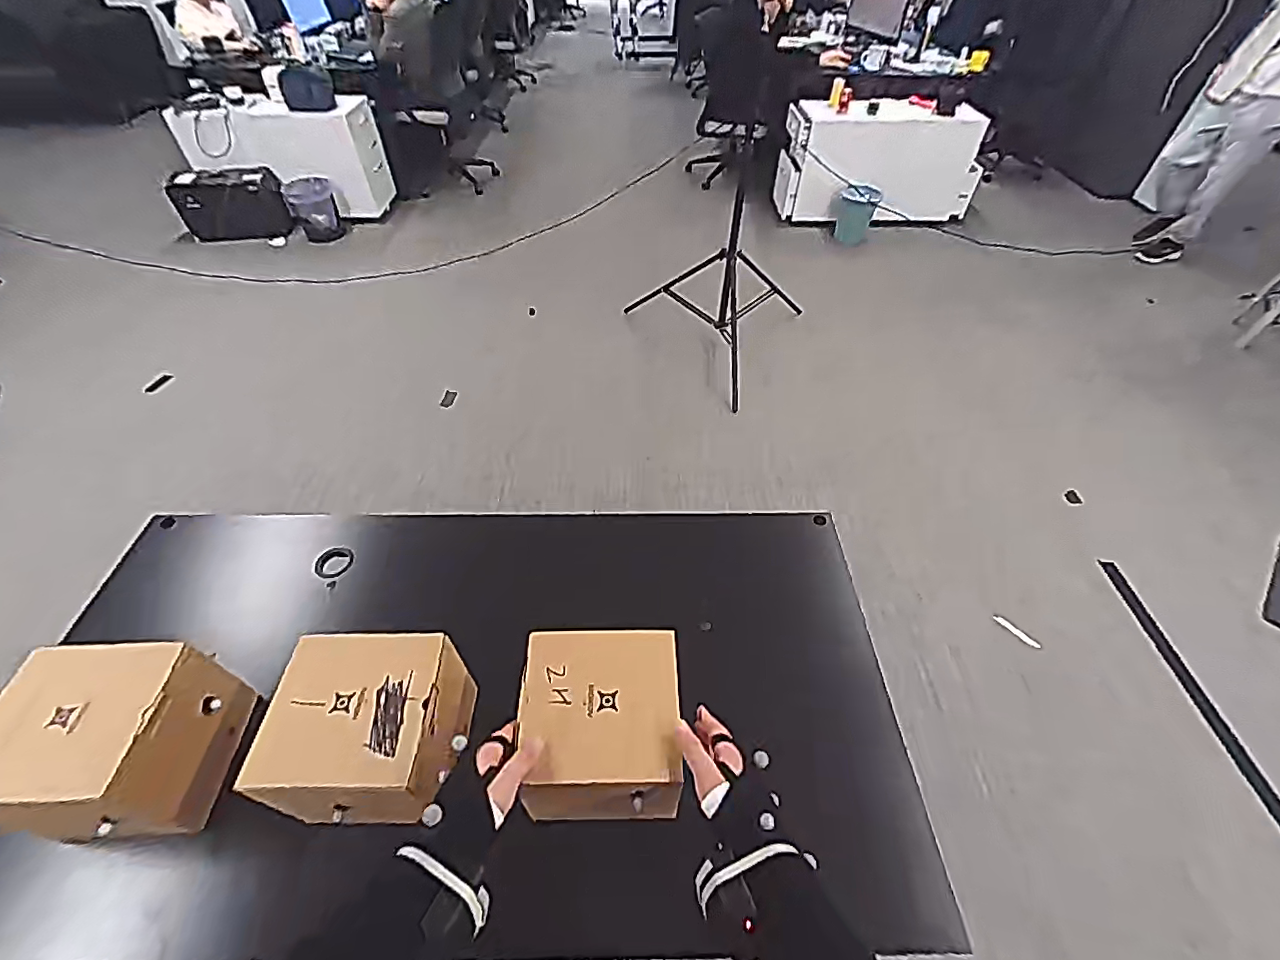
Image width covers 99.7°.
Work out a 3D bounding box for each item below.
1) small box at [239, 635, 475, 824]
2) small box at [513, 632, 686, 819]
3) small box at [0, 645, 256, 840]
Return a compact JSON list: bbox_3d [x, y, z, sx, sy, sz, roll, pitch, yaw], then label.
[{"bbox_3d":[-0.313,0.301,0.649,0.179,0.176,0.168,0,47,1],"label":"small box"},{"bbox_3d":[-0.042,0.298,0.654,0.179,0.176,0.168,-1,47,-1],"label":"small box"},{"bbox_3d":[-0.608,0.311,0.640,0.179,0.176,0.168,-3,47,-2],"label":"small box"}]
